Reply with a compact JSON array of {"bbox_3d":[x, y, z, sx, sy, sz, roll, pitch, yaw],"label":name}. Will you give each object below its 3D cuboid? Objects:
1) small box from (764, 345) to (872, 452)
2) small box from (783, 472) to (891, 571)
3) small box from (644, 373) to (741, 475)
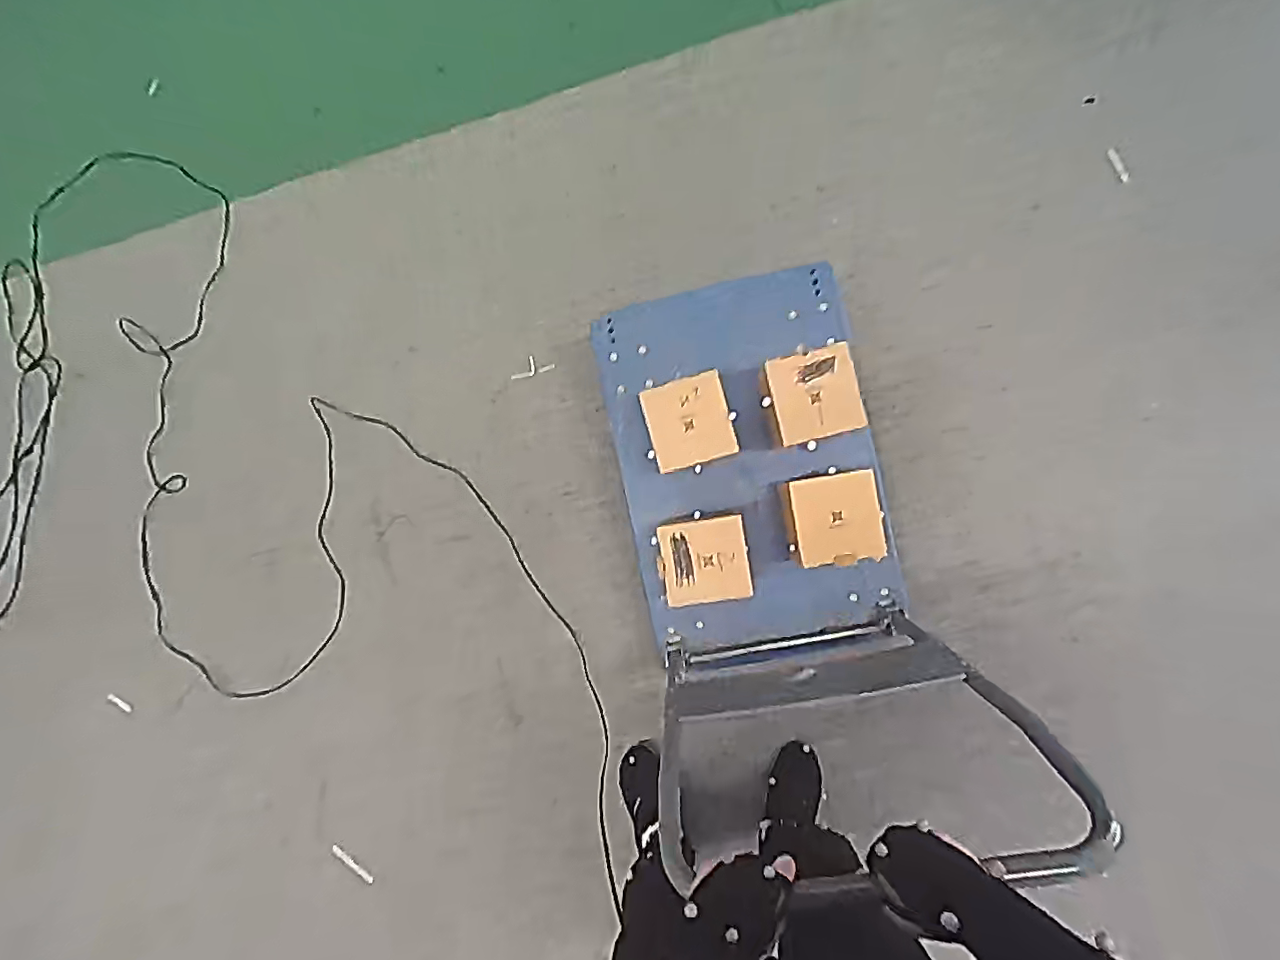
[{"bbox_3d":[0.364,-0.163,1.138,0.168,0.176,0.179,-12,89,7],"label":"small box"},{"bbox_3d":[0.403,0.083,1.134,0.168,0.176,0.179,-9,90,7],"label":"small box"},{"bbox_3d":[0.115,-0.114,1.166,0.168,0.176,0.179,-14,88,5],"label":"small box"}]
